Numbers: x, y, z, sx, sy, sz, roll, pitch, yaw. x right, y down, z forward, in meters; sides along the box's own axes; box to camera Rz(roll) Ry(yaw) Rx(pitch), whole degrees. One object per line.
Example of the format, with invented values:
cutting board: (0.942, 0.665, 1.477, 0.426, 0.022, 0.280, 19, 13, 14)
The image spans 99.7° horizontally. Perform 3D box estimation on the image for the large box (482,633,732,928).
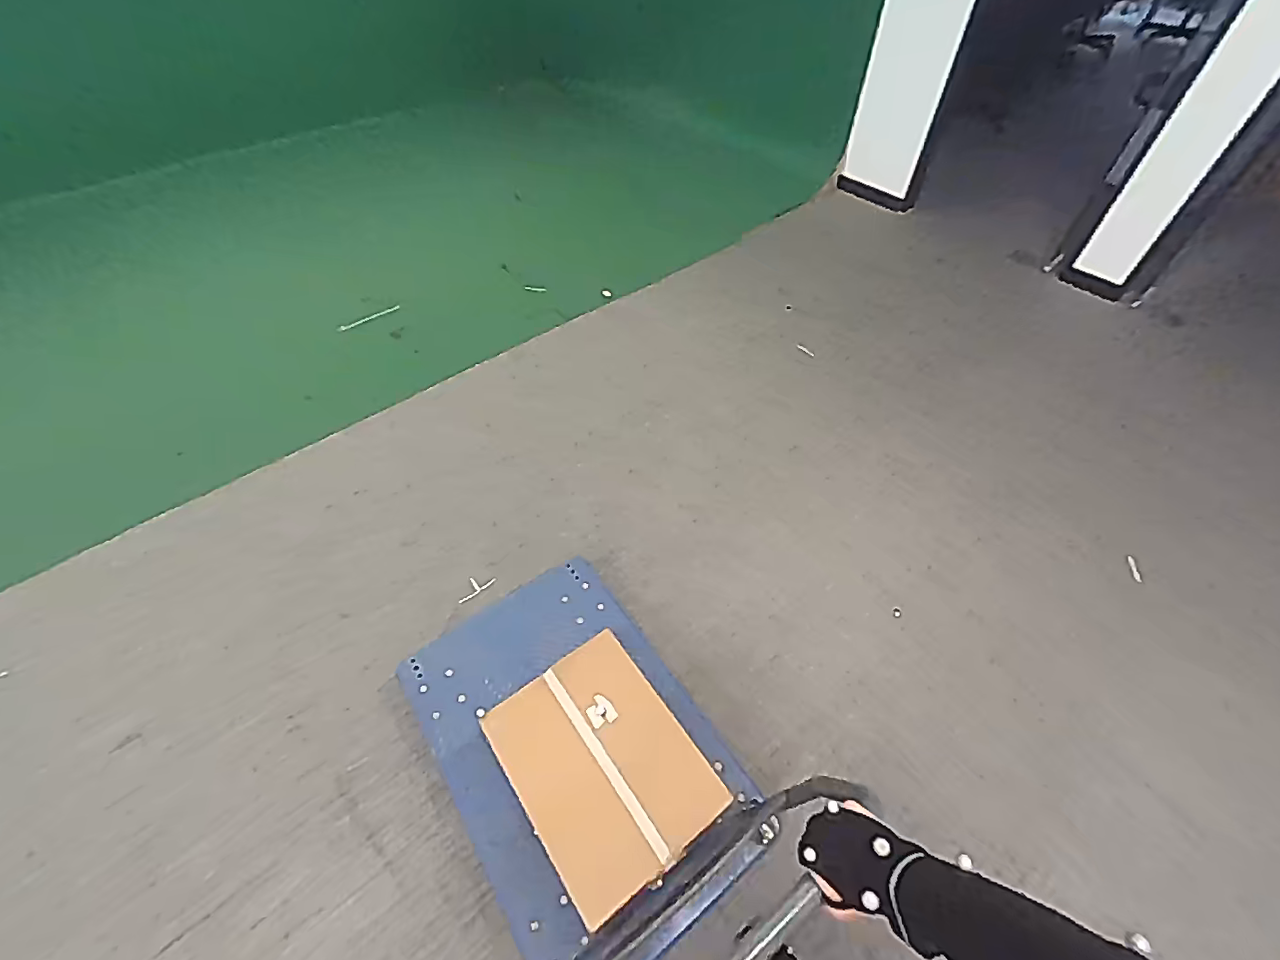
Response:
large box: (-0.065, 0.614, 1.129, 0.320, 0.320, 0.408, -30, 57, -21)
